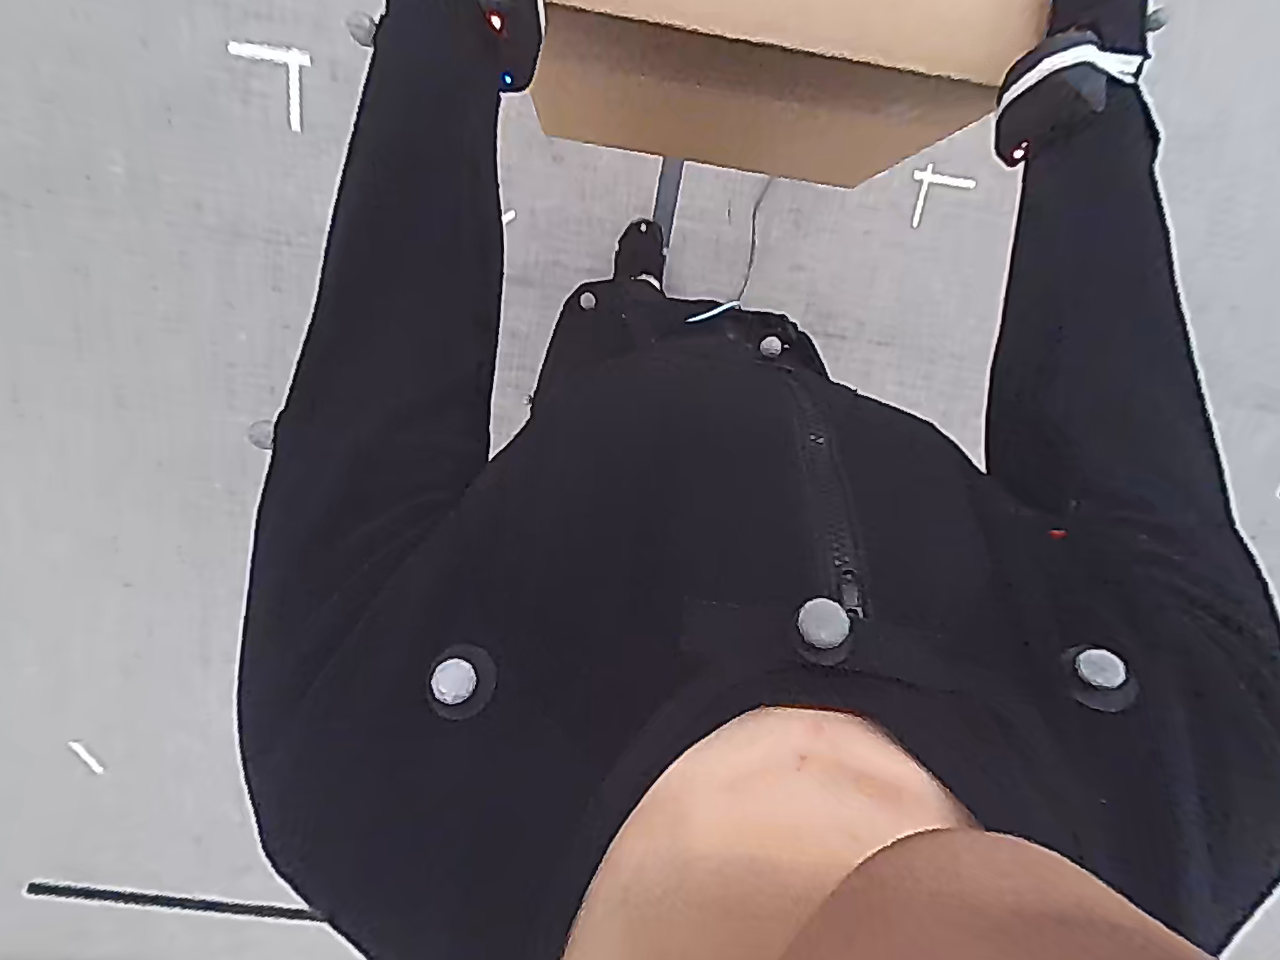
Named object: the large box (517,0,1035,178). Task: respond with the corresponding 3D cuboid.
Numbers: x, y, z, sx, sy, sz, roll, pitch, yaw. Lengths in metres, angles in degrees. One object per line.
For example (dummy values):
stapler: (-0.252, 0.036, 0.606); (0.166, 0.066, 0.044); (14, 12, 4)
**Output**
large box: (0.106, -0.519, 0.512); (0.408, 0.320, 0.320); (6, 106, -6)
